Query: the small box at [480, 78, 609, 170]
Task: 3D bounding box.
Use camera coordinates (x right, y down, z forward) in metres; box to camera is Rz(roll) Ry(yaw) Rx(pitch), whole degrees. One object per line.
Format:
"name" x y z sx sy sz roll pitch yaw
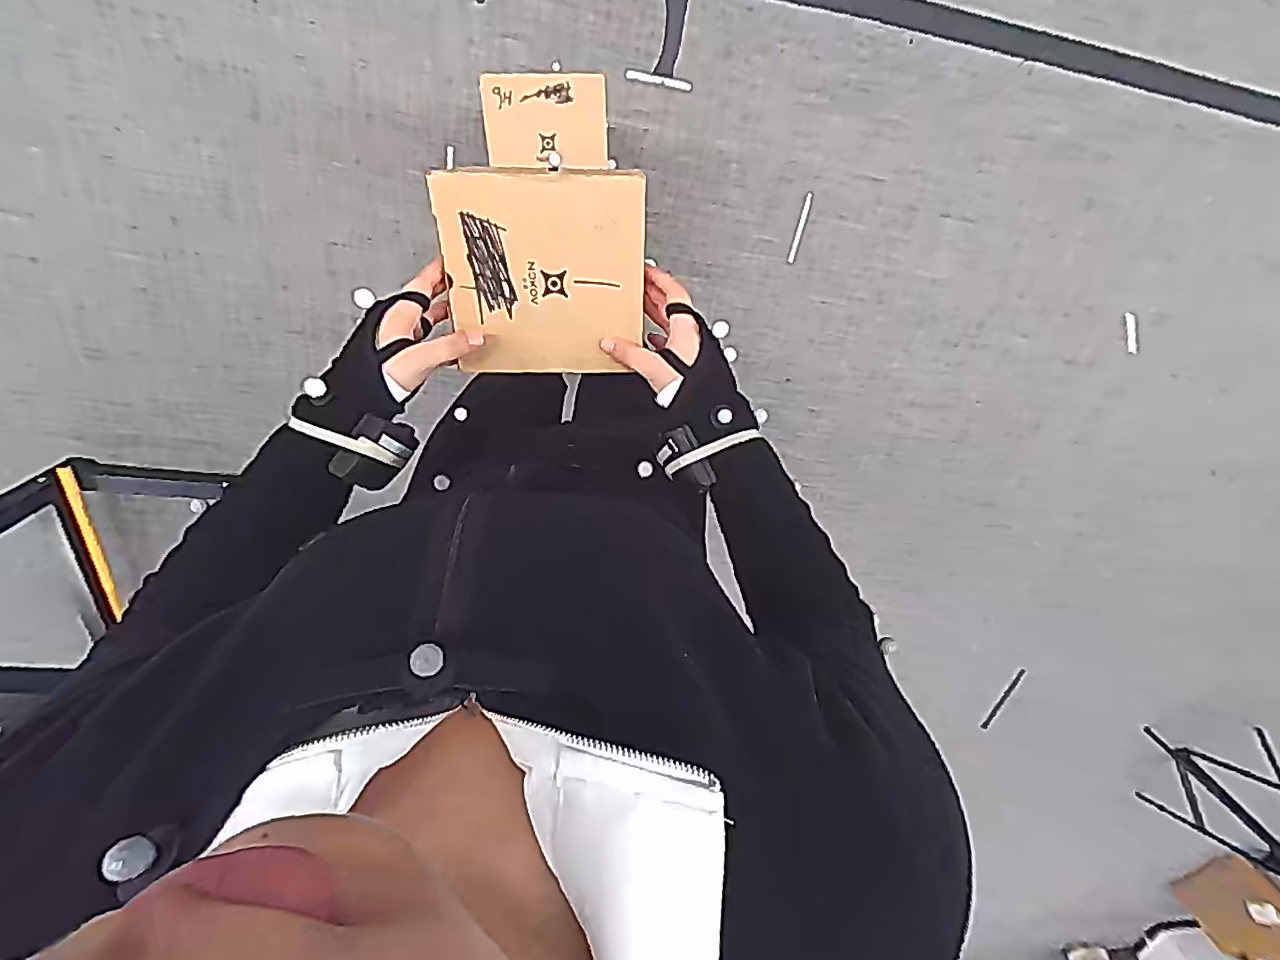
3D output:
"small box" -0.131 -0.486 0.814 0.168 0.176 0.179 -2 120 -3

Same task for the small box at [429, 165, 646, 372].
"small box" -0.086 -0.214 0.538 0.179 0.176 0.168 -1 121 -3
